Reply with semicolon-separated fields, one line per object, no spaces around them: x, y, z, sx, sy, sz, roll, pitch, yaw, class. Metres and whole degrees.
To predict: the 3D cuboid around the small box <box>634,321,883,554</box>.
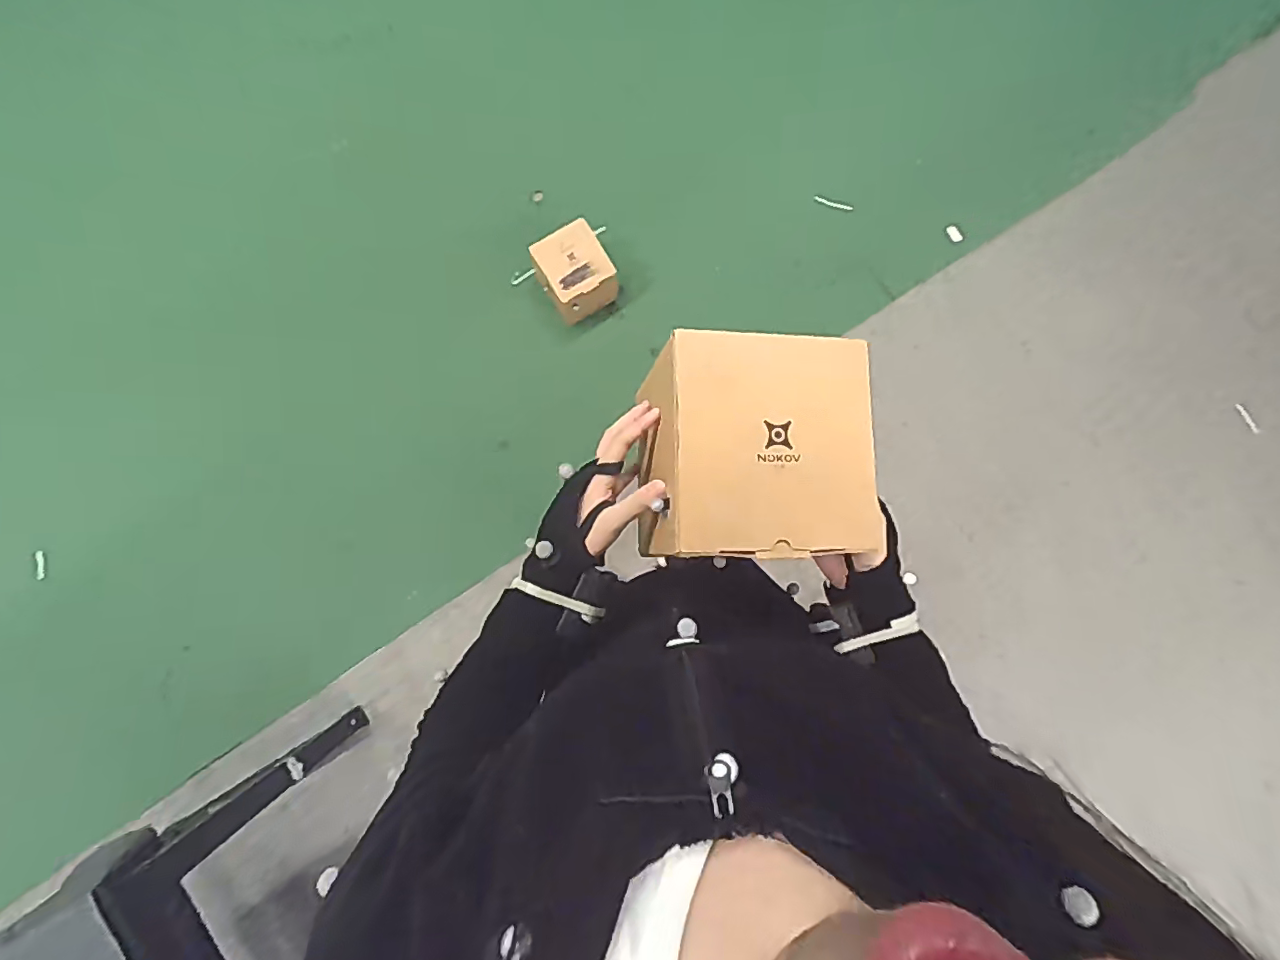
0.089;-0.024;0.489;0.168;0.176;0.179;-1;83;-10;small box
